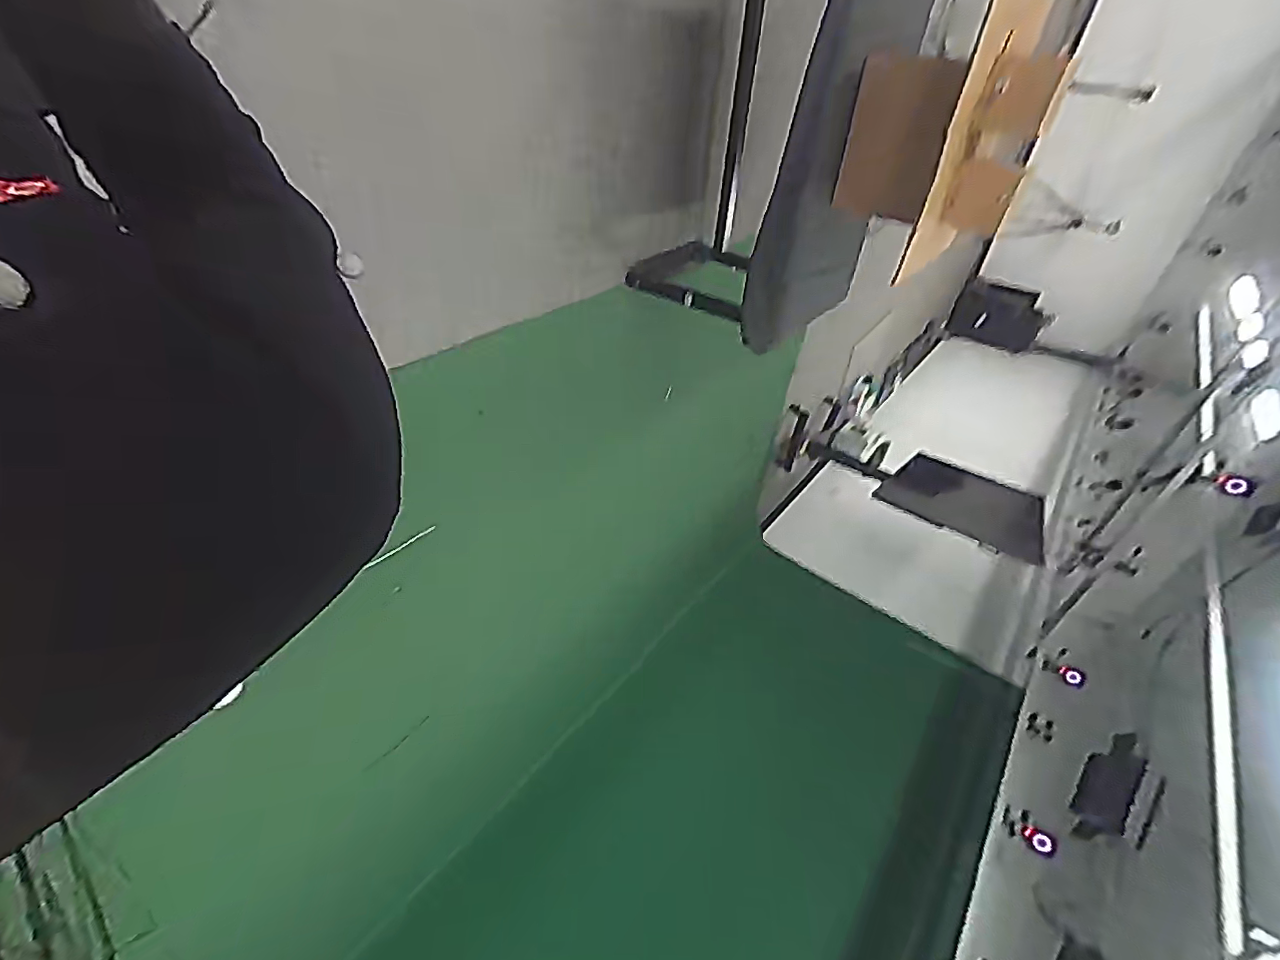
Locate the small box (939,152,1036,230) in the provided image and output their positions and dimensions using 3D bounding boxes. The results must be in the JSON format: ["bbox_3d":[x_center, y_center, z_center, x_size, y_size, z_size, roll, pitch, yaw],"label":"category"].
[{"bbox_3d":[1.006,-0.844,1.570,0.179,0.176,0.168,-36,144,-39],"label":"small box"}]

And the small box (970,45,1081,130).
[{"bbox_3d":[0.999,-1.025,1.410,0.179,0.176,0.168,-35,141,-36],"label":"small box"}]
